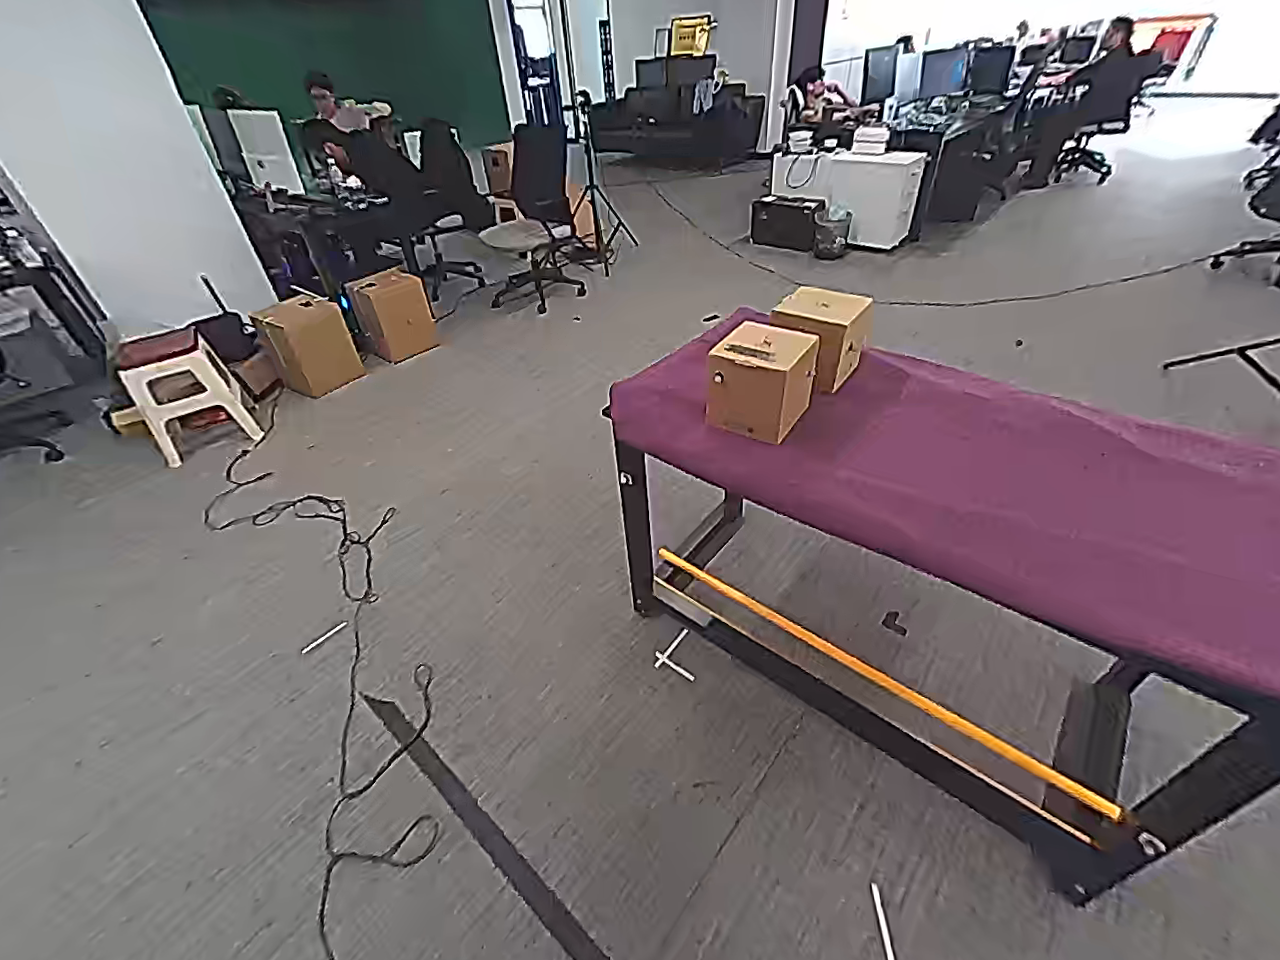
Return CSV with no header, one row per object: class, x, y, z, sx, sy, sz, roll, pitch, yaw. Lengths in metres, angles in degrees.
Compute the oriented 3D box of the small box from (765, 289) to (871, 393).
small box,0.410,-0.322,1.263,0.179,0.176,0.168,23,47,29
